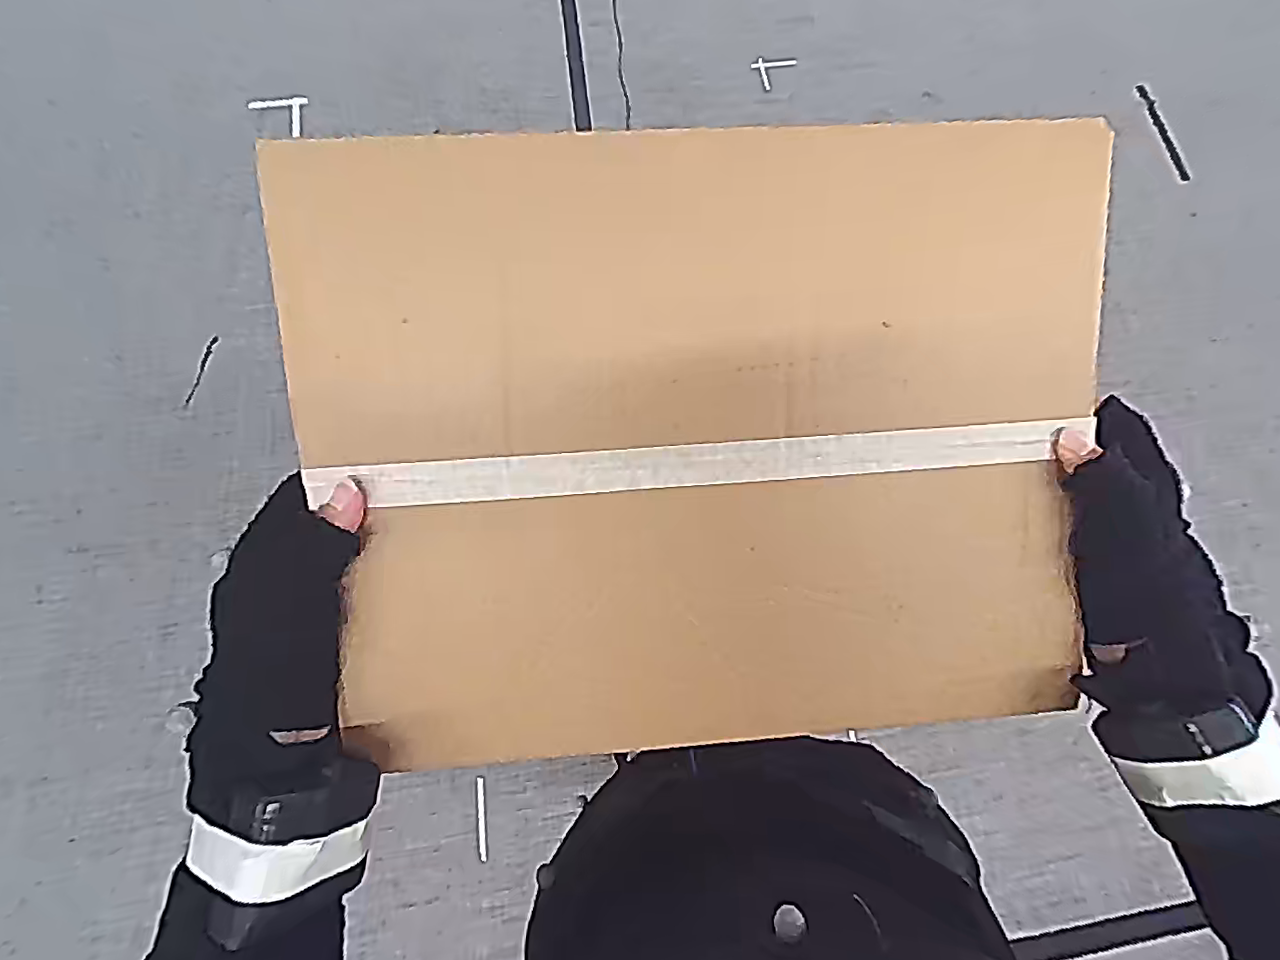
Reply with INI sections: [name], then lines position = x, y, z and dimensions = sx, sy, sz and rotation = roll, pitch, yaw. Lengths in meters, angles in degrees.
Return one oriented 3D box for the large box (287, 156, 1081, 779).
[large box]
position = 0.031, -0.022, 0.436
dimensions = 0.408, 0.320, 0.320
rotation = -4, 98, -3
